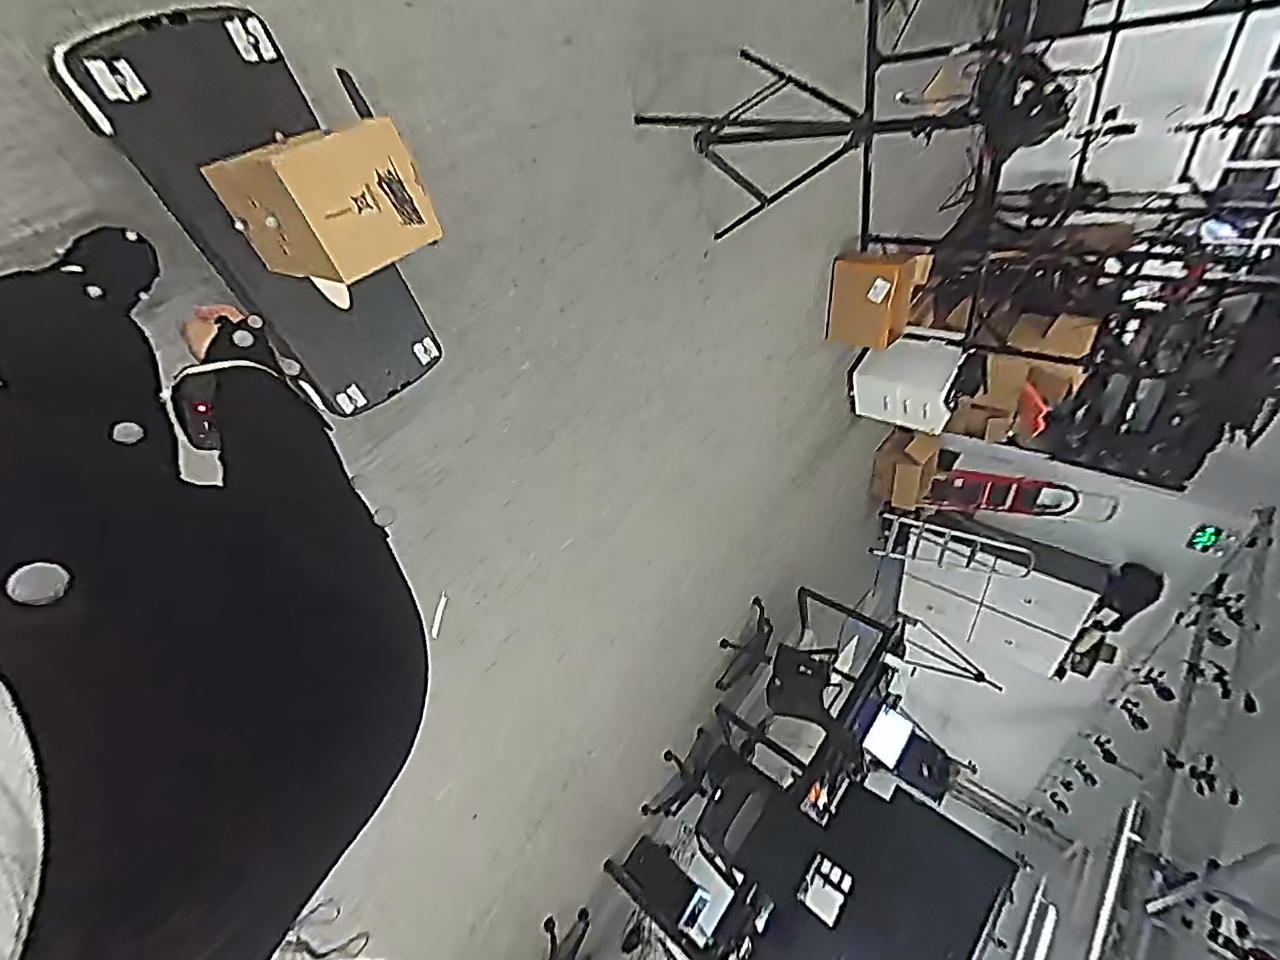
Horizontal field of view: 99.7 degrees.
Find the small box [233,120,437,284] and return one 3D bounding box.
[{"bbox_3d":[-0.448,-0.413,0.801,0.179,0.176,0.168,-44,137,-28],"label":"small box"}]

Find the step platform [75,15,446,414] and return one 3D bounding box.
[{"bbox_3d":[-0.670,-0.465,1.064,0.286,0.204,0.684,-45,138,-28],"label":"step platform"}]

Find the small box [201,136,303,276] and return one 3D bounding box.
[{"bbox_3d":[-0.571,-0.460,0.898,0.179,0.176,0.168,-43,137,-29],"label":"small box"}]
